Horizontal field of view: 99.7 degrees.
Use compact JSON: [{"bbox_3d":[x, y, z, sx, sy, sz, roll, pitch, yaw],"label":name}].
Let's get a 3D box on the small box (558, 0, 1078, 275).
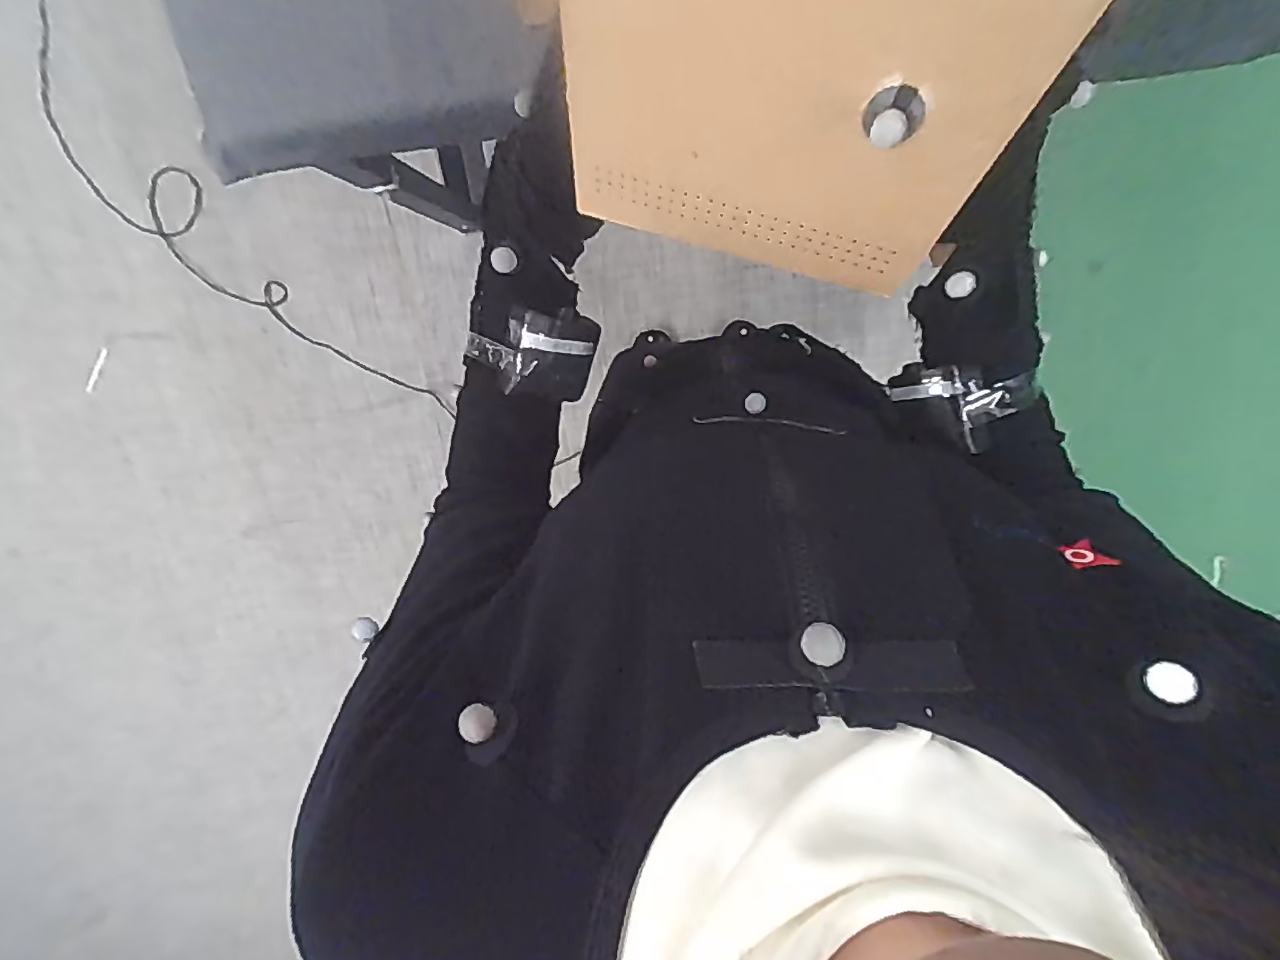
[{"bbox_3d":[0.072,-0.223,0.242,0.179,0.176,0.168,17,69,4],"label":"small box"}]
